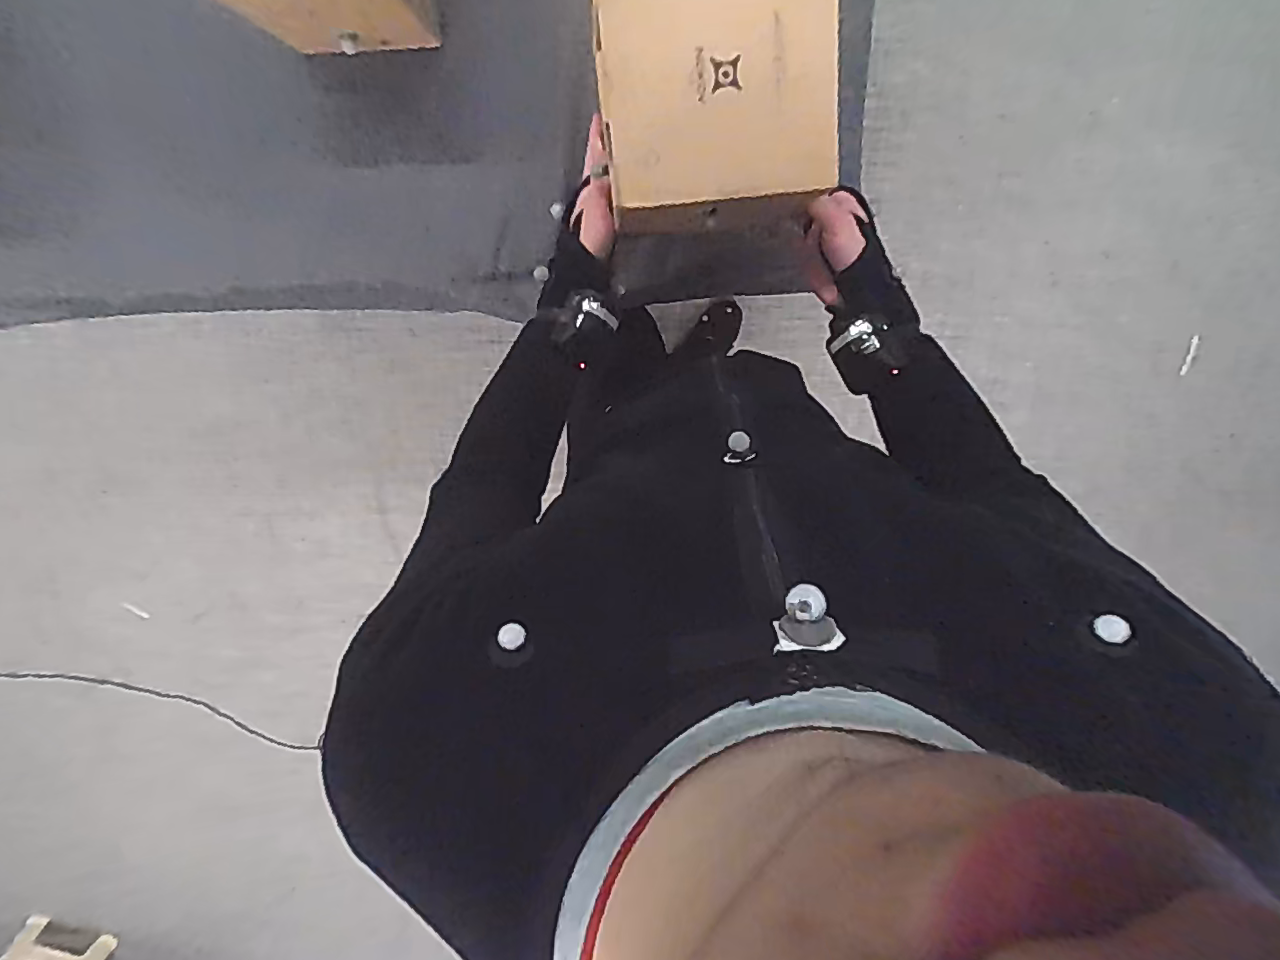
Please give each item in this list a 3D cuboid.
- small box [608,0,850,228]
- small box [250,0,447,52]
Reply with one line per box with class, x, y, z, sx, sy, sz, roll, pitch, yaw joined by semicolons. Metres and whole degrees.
small box;0.066;-0.330;0.479;0.179;0.176;0.168;-8;108;-3
small box;-0.304;-0.551;0.523;0.168;0.176;0.179;-2;114;0
